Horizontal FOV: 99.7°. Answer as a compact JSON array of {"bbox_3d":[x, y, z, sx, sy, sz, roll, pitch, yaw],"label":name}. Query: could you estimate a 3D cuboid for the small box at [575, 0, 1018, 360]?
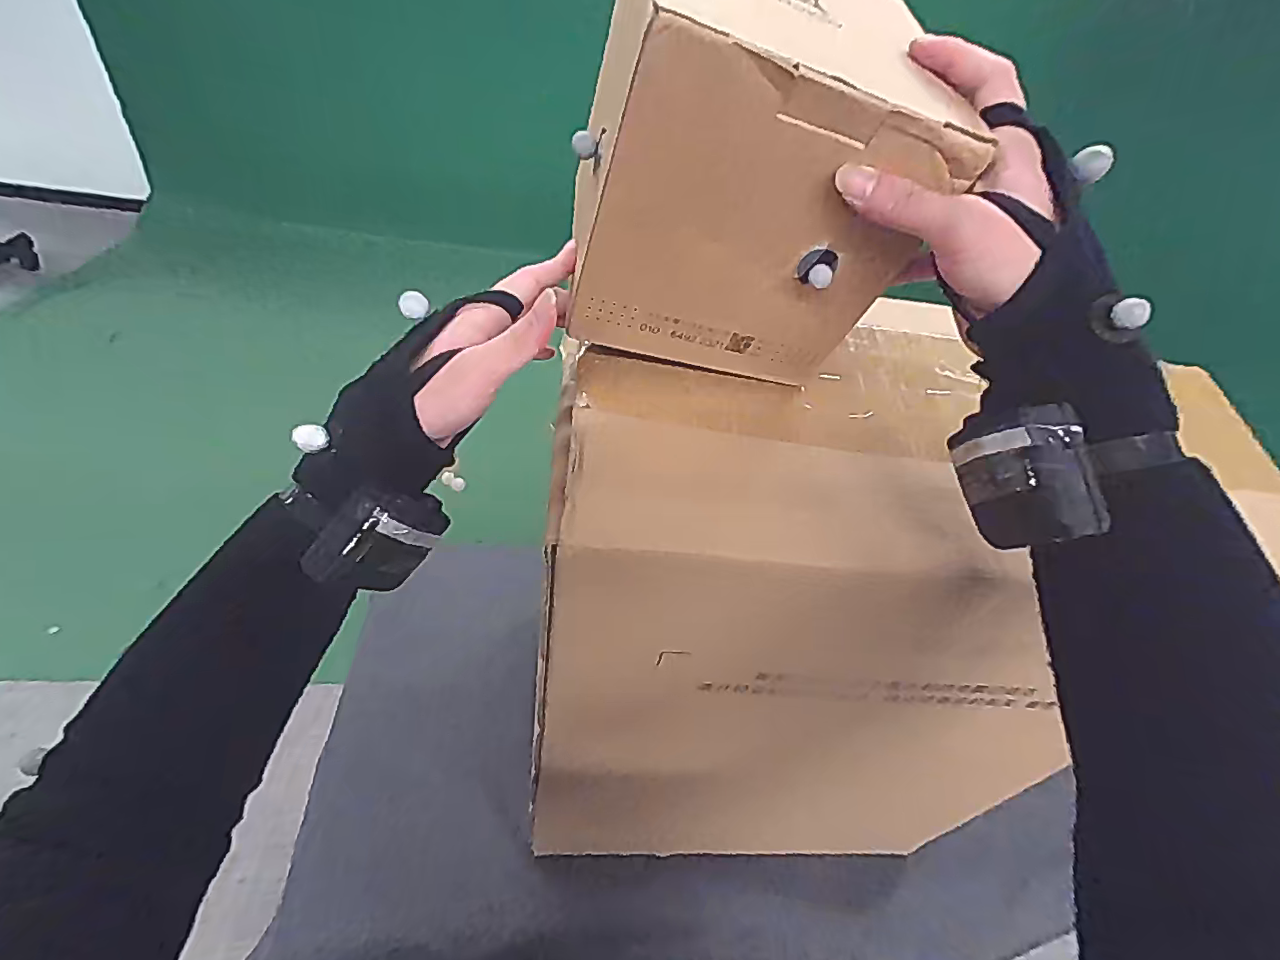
[{"bbox_3d":[0.061,-0.200,0.323,0.168,0.176,0.179,10,54,-18],"label":"small box"}]
